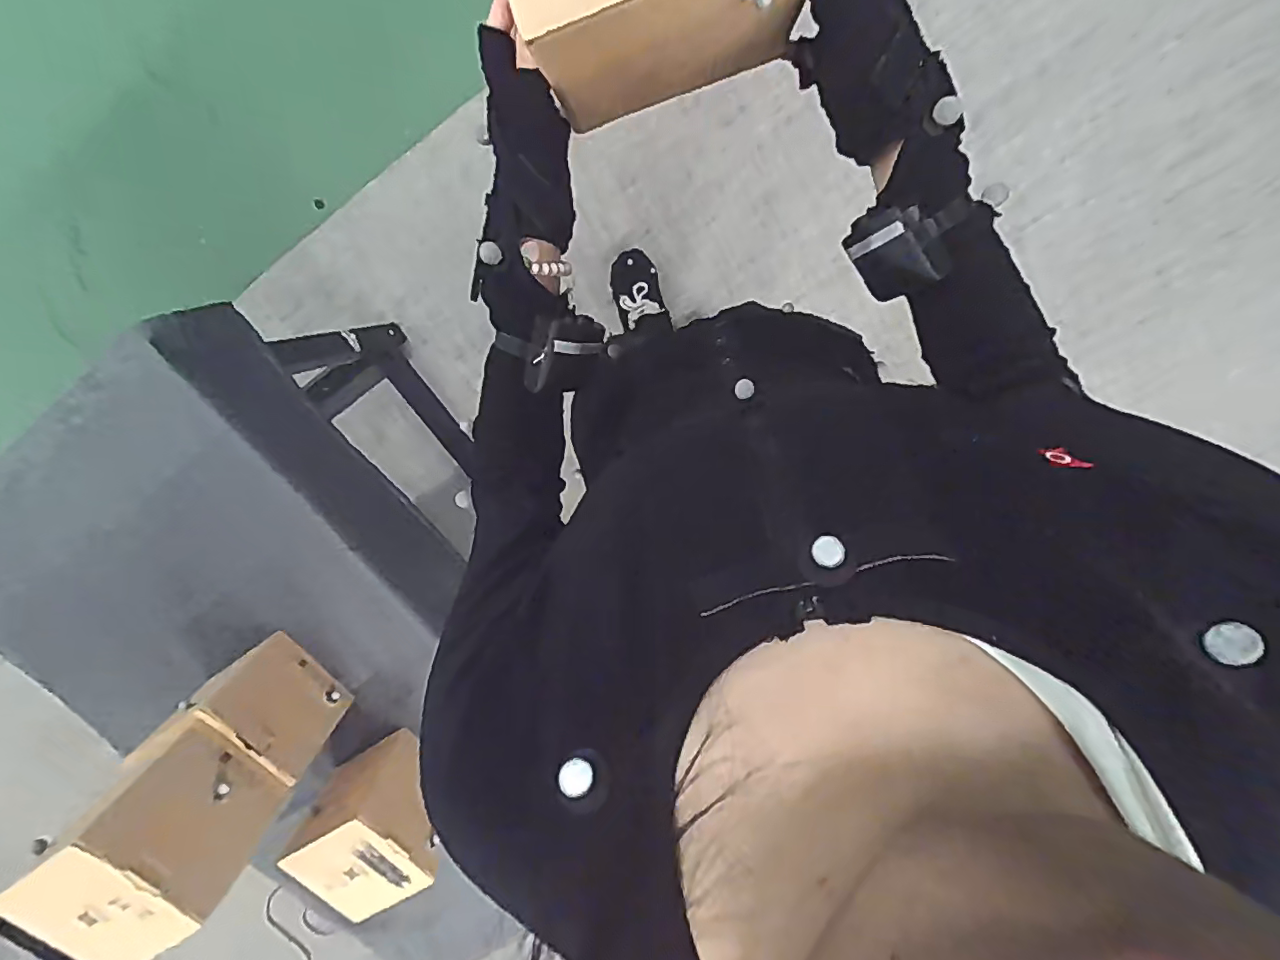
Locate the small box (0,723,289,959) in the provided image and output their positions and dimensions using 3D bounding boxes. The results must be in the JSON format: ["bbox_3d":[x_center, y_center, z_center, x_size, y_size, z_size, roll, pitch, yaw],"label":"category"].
[{"bbox_3d":[-0.591,0.446,0.669,0.179,0.176,0.168,-35,106,12],"label":"small box"}]

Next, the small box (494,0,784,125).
[{"bbox_3d":[-0.007,-0.354,0.330,0.179,0.176,0.168,-17,106,8],"label":"small box"}]

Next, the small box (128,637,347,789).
[{"bbox_3d":[-0.583,0.372,0.816,0.179,0.176,0.168,-33,106,13],"label":"small box"}]
